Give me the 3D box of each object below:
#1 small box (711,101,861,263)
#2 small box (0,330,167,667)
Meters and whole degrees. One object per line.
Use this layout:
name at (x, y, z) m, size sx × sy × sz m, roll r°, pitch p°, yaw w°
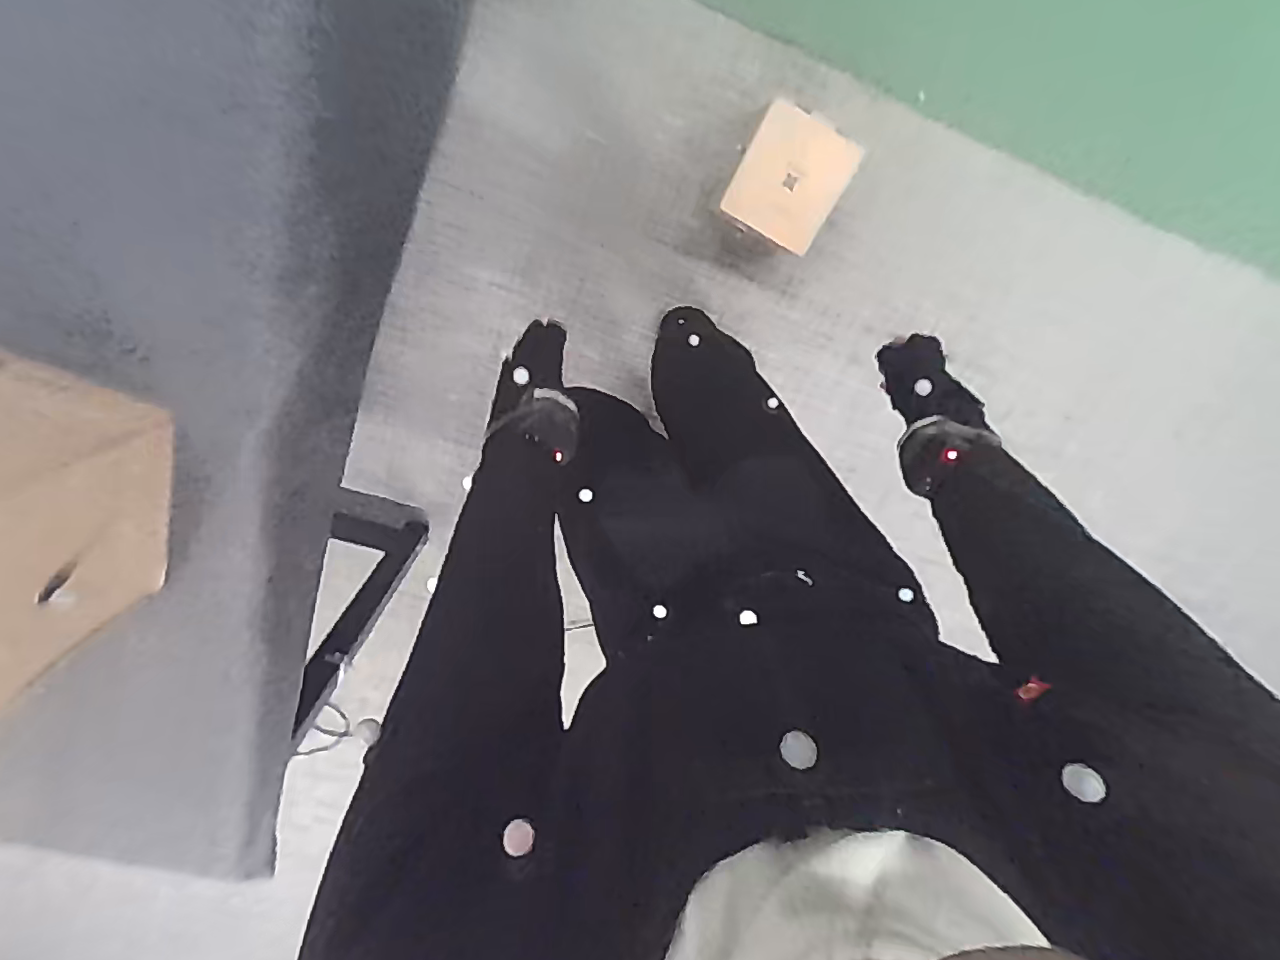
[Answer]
small box at (0.234, -0.500, 0.926) m, size 0.168 × 0.176 × 0.179 m, roll 26°, pitch 114°, yaw -11°
small box at (-0.459, 0.013, 0.352) m, size 0.168 × 0.176 × 0.179 m, roll 22°, pitch 114°, yaw -10°
